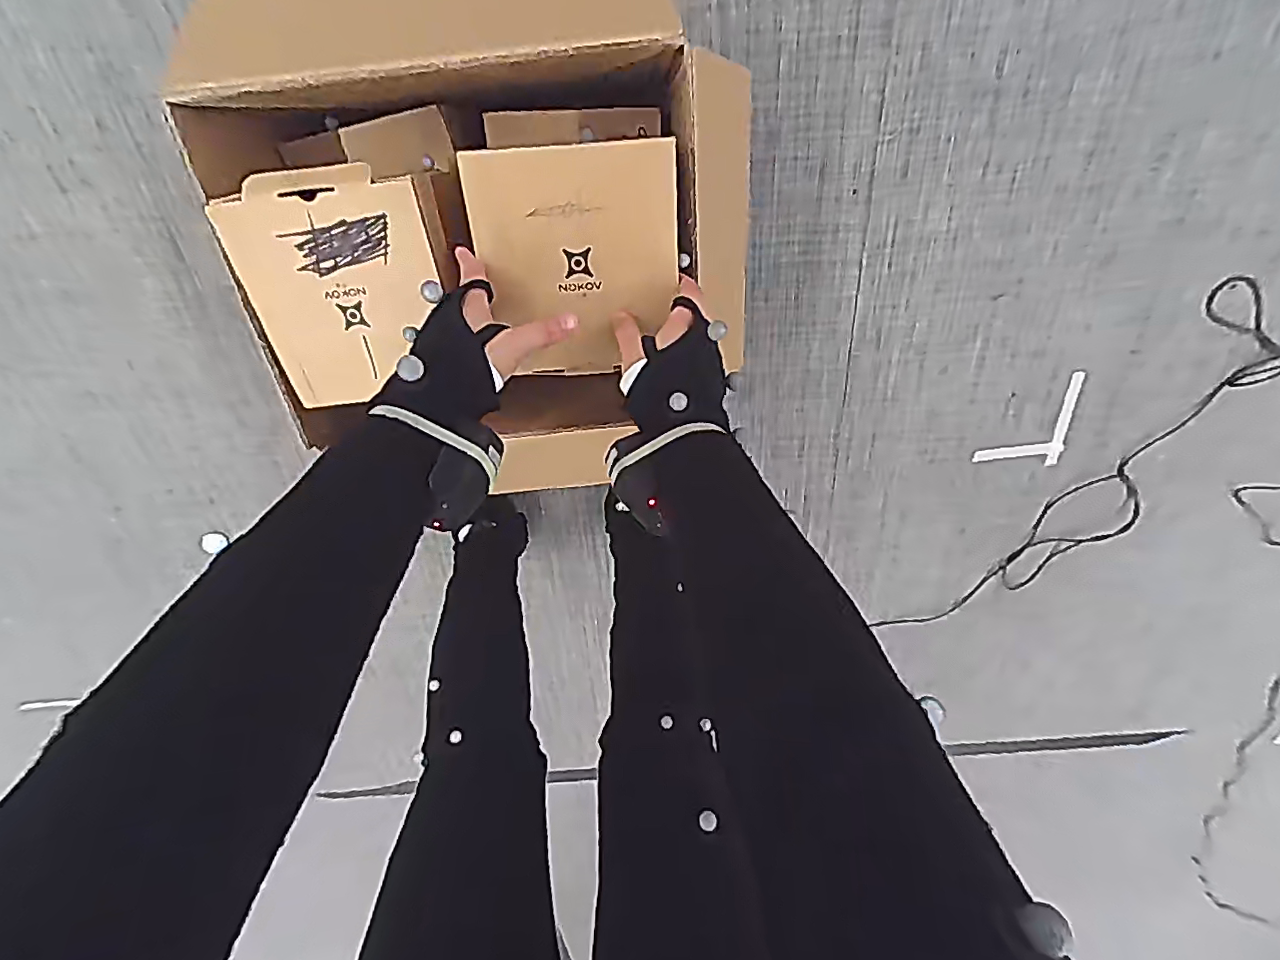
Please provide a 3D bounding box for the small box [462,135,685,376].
[{"bbox_3d":[-0.049,-0.212,0.507,0.168,0.176,0.179,-5,119,-2],"label":"small box"}]

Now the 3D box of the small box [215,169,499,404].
[{"bbox_3d":[-0.236,-0.191,0.517,0.168,0.176,0.179,-5,123,3],"label":"small box"}]
